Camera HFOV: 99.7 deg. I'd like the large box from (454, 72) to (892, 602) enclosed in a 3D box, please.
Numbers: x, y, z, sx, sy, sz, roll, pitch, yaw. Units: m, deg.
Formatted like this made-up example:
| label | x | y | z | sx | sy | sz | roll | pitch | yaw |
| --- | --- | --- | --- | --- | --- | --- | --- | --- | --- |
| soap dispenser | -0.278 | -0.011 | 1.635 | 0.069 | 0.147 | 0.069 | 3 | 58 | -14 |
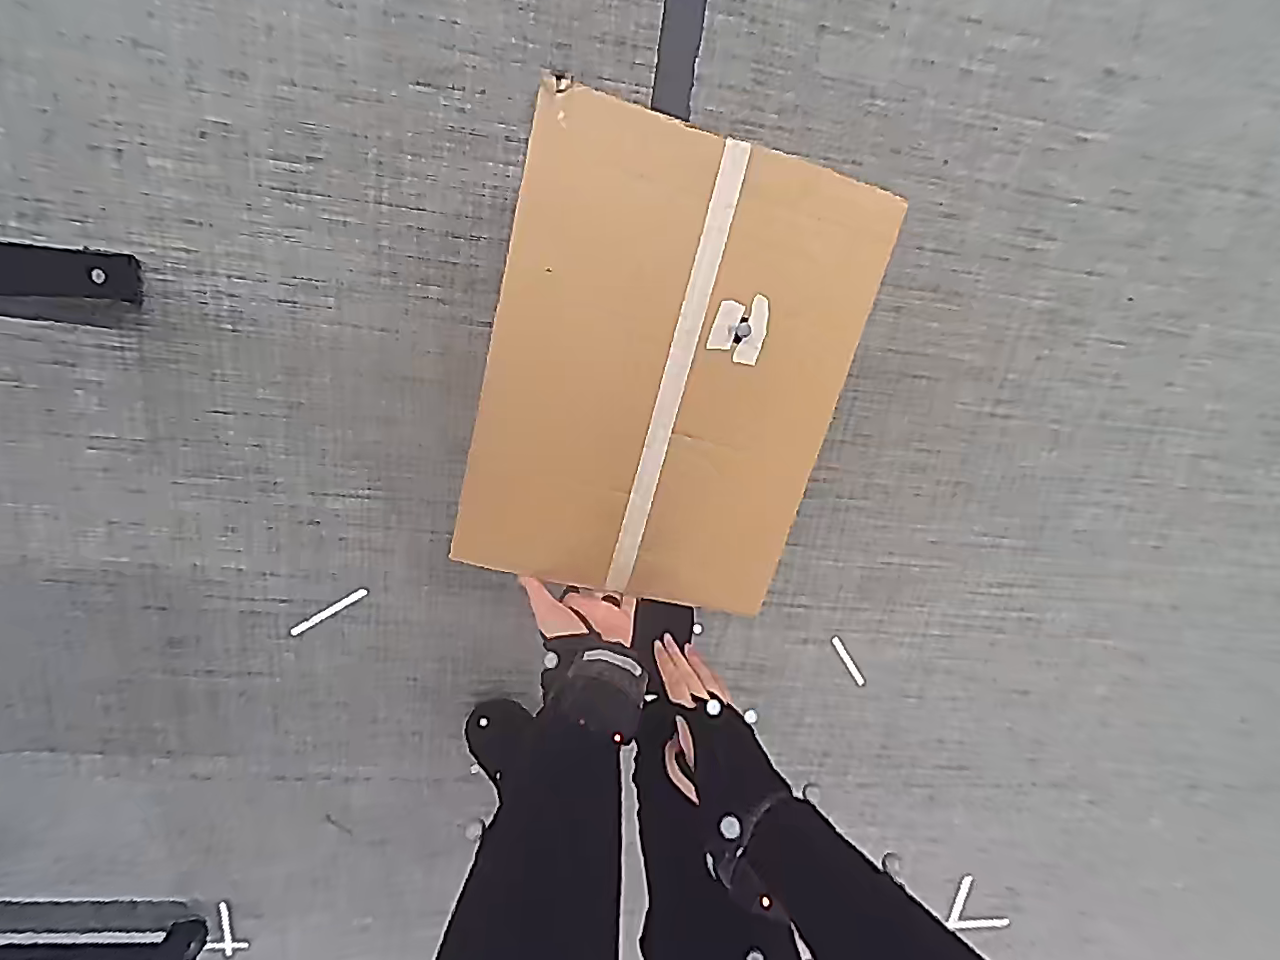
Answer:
| label | x | y | z | sx | sy | sz | roll | pitch | yaw |
| --- | --- | --- | --- | --- | --- | --- | --- | --- | --- |
| large box | 0.006 | -0.130 | 0.620 | 0.320 | 0.320 | 0.408 | 13 | 104 | -10 |
